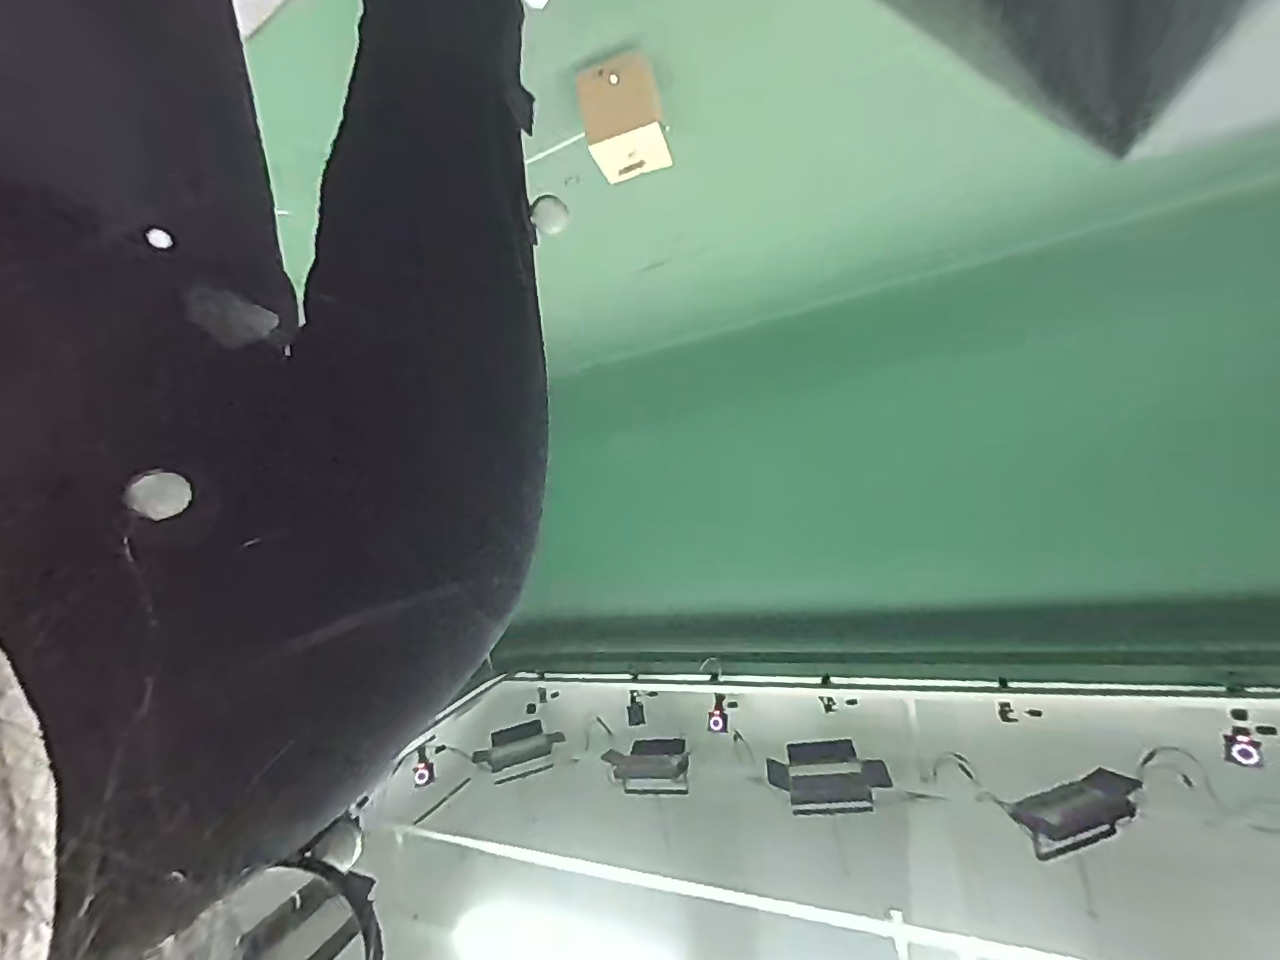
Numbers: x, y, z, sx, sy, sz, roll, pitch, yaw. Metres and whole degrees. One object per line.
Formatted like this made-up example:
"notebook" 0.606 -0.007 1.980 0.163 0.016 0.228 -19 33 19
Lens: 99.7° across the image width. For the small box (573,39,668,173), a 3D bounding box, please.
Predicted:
"small box" -0.040 -0.853 1.245 0.168 0.176 0.179 -10 -179 14
